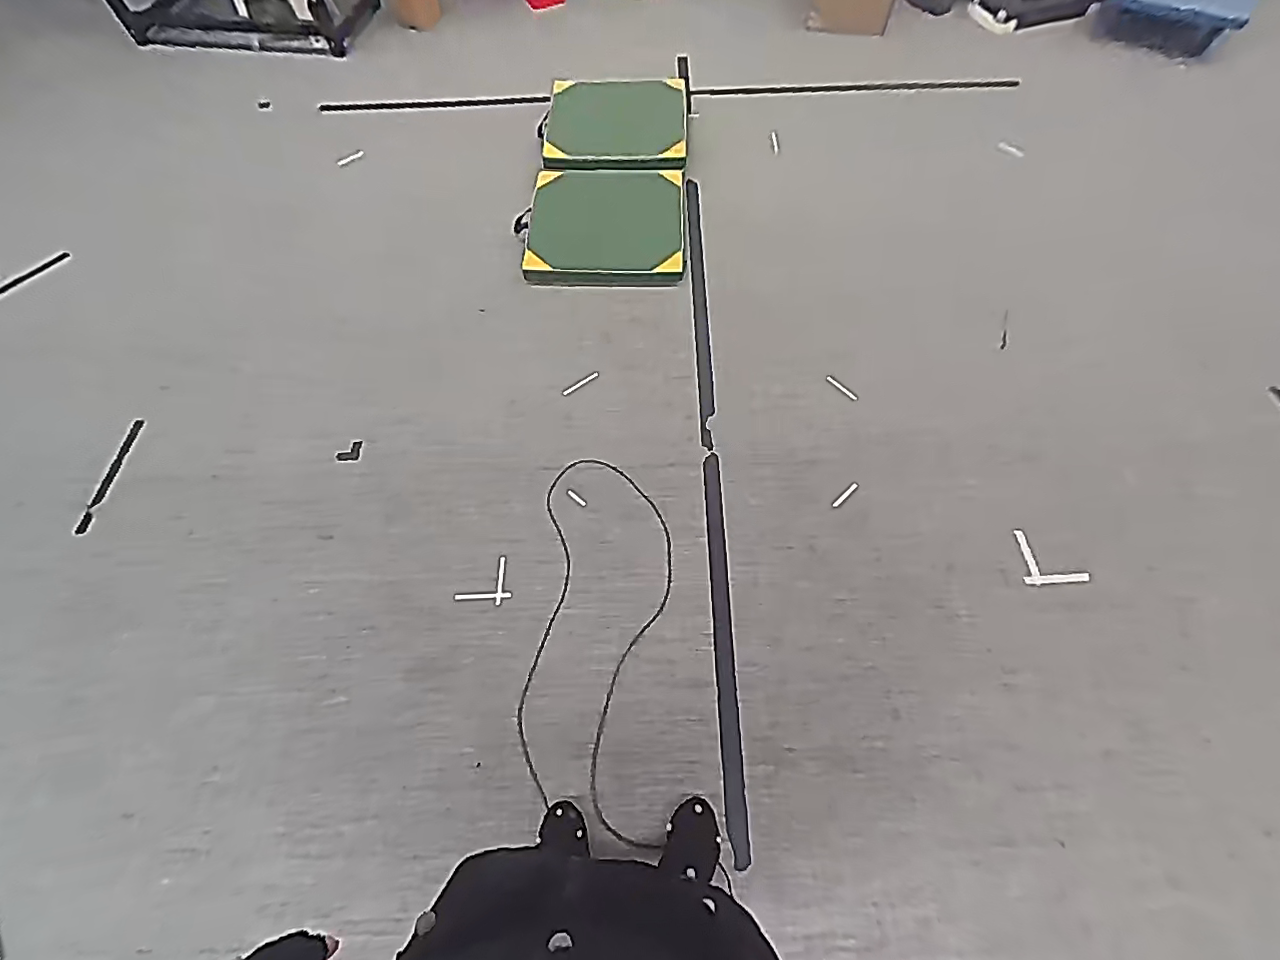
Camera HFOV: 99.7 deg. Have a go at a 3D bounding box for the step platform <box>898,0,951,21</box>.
[{"bbox_3d":[1.781,-2.749,2.951,0.684,0.204,0.286,-27,65,-12],"label":"step platform"}]
